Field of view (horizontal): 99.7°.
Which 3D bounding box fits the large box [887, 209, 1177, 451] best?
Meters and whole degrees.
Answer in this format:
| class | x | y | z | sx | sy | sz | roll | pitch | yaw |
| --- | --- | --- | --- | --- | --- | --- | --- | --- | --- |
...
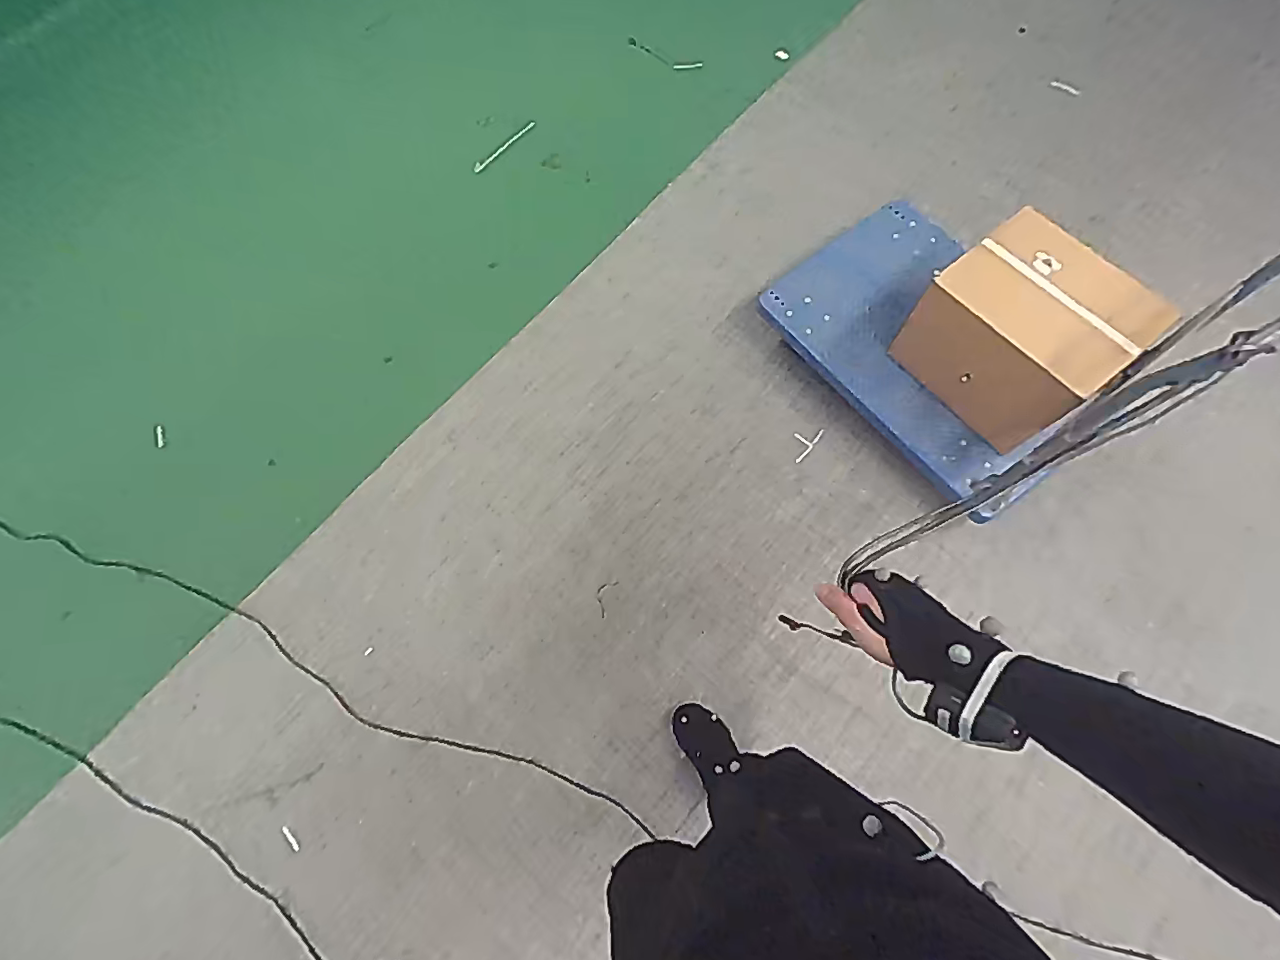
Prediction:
| class | x | y | z | sx | sy | sz | roll | pitch | yaw |
| --- | --- | --- | --- | --- | --- | --- | --- | --- | --- |
| large box | 0.900 | -0.347 | 1.309 | 0.320 | 0.320 | 0.408 | -37 | 71 | -8 |
